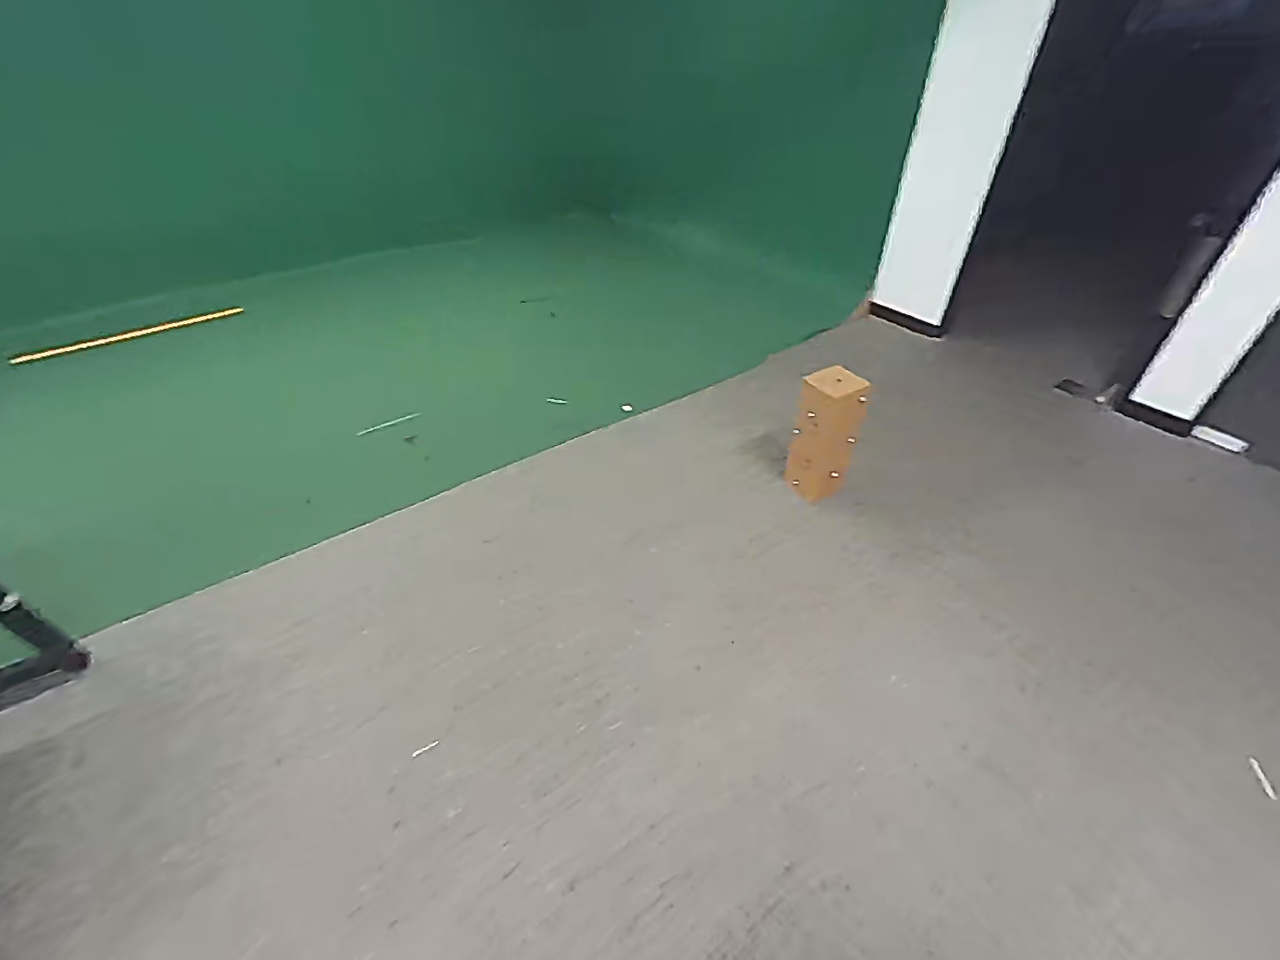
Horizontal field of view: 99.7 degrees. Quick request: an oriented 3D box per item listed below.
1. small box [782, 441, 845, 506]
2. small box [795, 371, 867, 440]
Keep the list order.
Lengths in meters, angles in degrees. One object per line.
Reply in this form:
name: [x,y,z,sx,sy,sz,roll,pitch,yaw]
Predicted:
small box: [0.700,-0.024,2.204,0.179,0.176,0.168,-25,46,-24]
small box: [0.695,-0.274,1.990,0.179,0.176,0.168,-22,44,-22]
